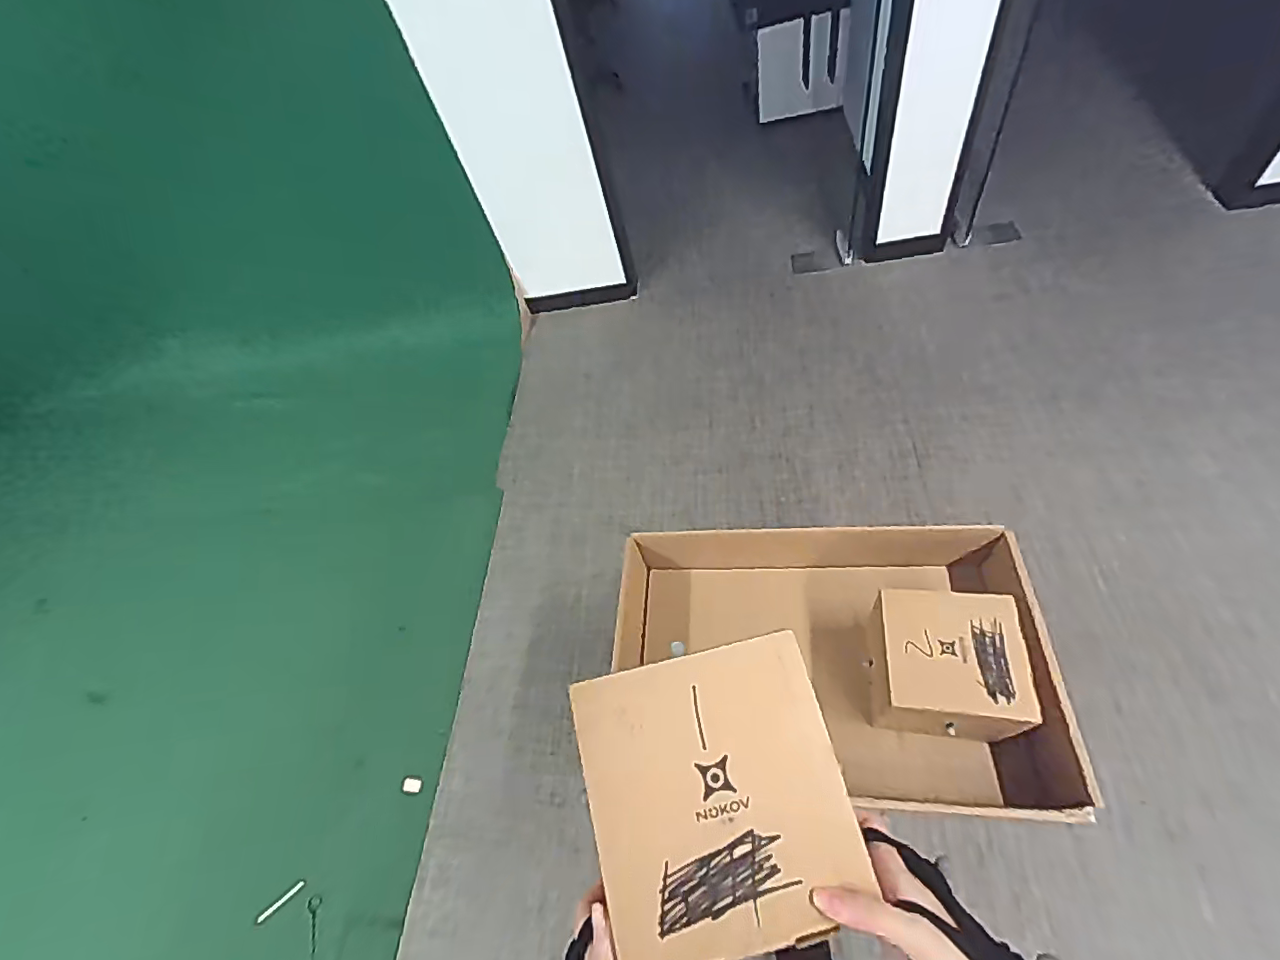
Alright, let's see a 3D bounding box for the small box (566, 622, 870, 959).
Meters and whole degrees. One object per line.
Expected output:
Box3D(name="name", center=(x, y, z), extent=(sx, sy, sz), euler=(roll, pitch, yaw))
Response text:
Box3D(name="small box", center=(0.047, 0.226, 0.430), extent=(0.168, 0.176, 0.179), euler=(-13, 68, -4))
